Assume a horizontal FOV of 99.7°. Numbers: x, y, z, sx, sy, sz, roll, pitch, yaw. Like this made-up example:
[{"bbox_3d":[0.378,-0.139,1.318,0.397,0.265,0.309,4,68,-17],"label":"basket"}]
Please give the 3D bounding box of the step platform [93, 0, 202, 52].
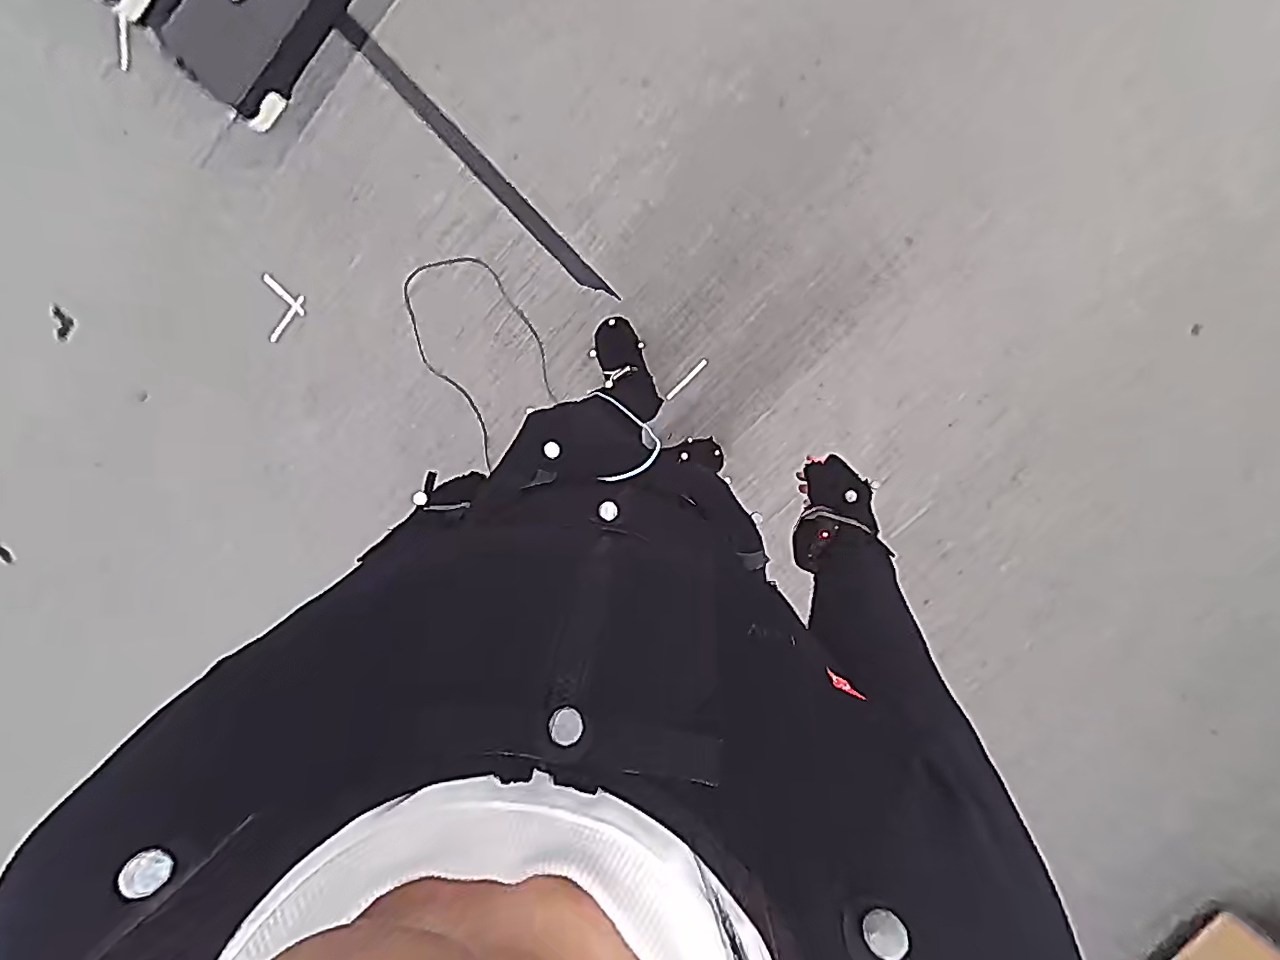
[{"bbox_3d":[-1.016,-1.341,1.172,0.286,0.204,0.684,44,101,-5],"label":"step platform"}]
